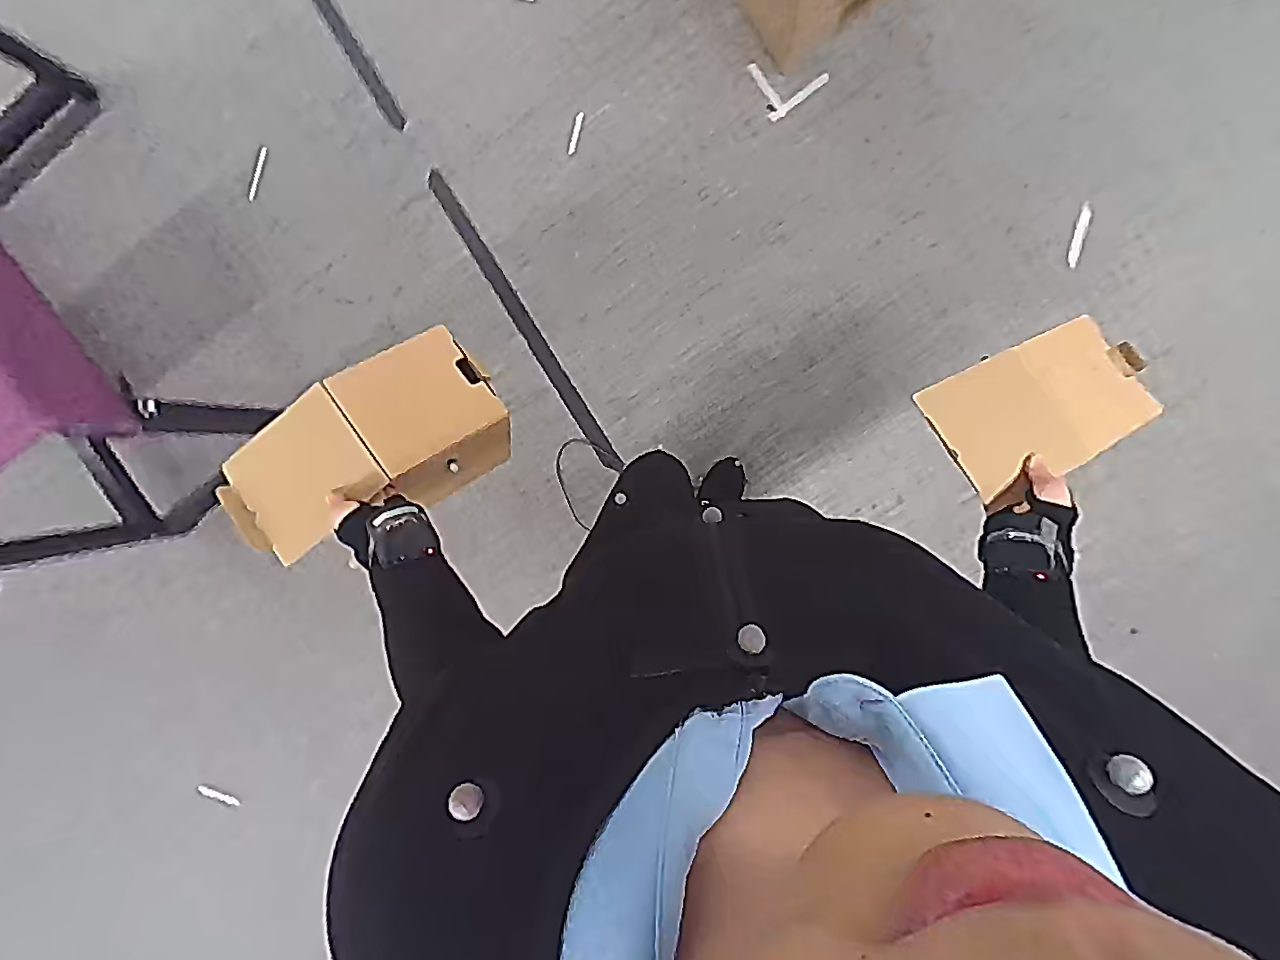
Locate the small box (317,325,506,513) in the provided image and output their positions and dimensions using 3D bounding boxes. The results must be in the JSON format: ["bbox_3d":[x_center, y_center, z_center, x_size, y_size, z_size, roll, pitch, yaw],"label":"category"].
[{"bbox_3d":[-0.305,-0.077,0.765,0.179,0.176,0.168,-35,82,-21],"label":"small box"}]
